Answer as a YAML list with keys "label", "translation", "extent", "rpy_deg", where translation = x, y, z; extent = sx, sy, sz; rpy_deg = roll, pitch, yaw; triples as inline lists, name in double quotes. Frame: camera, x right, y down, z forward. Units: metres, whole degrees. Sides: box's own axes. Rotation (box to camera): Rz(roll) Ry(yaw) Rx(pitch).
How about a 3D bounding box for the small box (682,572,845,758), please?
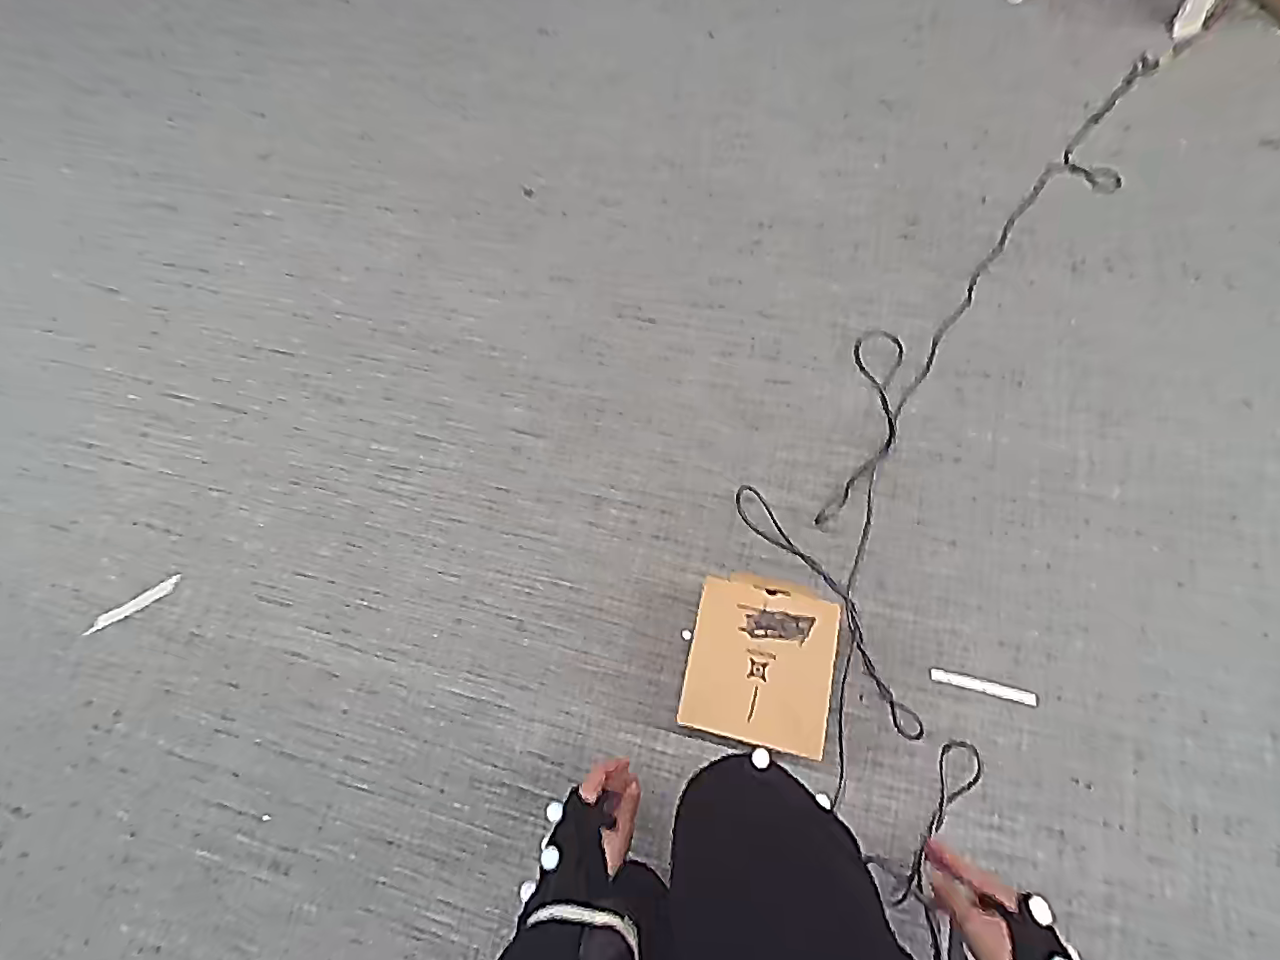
- label: "small box"
  translation: [0.152, 0.235, 0.704]
  extent: [0.168, 0.176, 0.179]
  rpy_deg: [11, 72, 9]
